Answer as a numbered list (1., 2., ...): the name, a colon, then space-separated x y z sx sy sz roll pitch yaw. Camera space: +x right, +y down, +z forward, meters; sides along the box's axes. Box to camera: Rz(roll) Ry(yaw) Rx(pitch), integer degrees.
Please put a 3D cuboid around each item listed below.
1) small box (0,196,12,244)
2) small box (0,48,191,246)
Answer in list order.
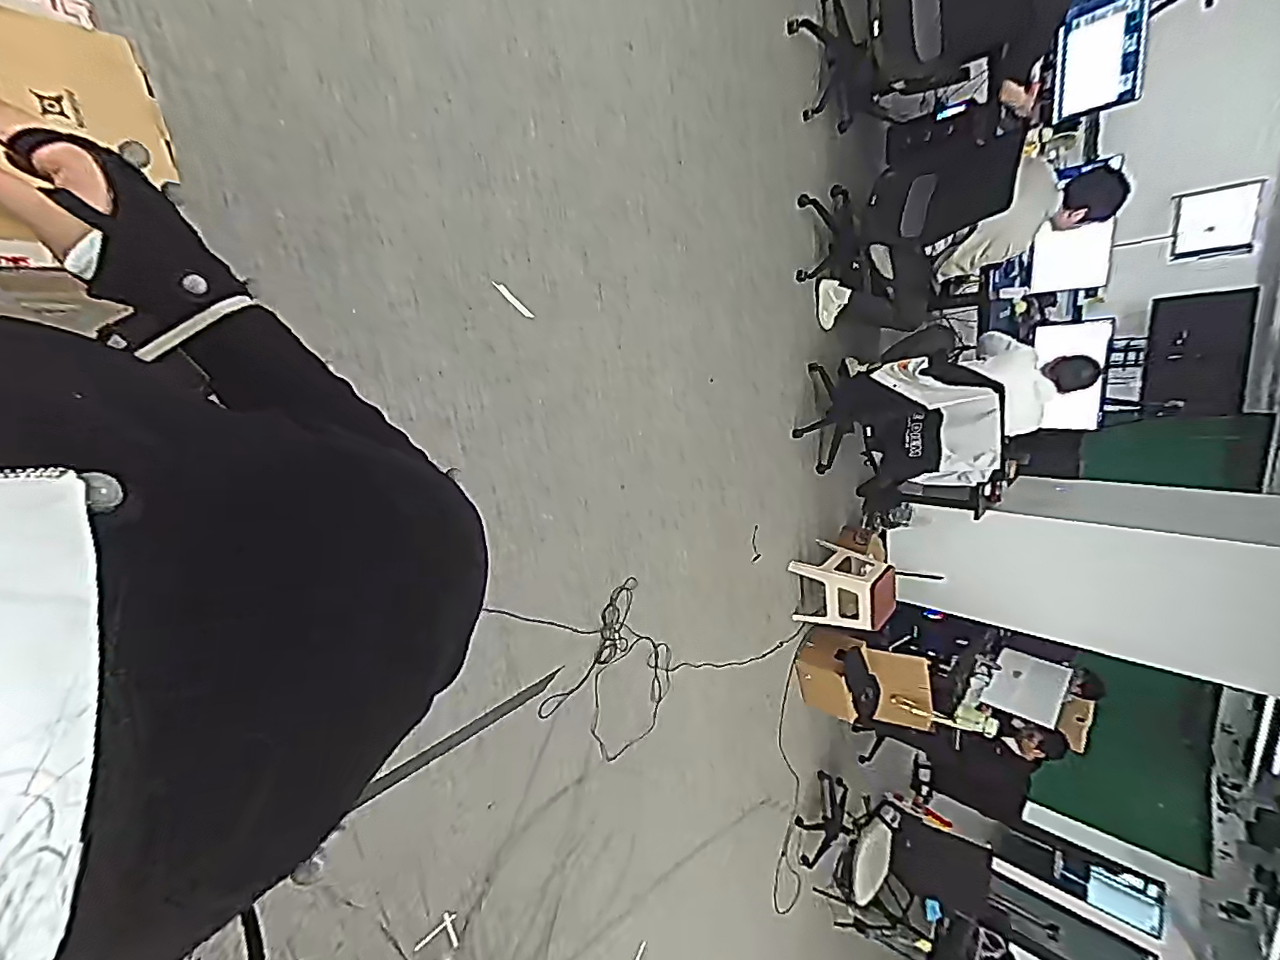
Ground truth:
1. small box: -0.508 -0.231 0.302 0.168 0.176 0.179 -23 119 -43
2. small box: -0.691 -0.385 0.652 0.179 0.176 0.168 -24 113 -42
